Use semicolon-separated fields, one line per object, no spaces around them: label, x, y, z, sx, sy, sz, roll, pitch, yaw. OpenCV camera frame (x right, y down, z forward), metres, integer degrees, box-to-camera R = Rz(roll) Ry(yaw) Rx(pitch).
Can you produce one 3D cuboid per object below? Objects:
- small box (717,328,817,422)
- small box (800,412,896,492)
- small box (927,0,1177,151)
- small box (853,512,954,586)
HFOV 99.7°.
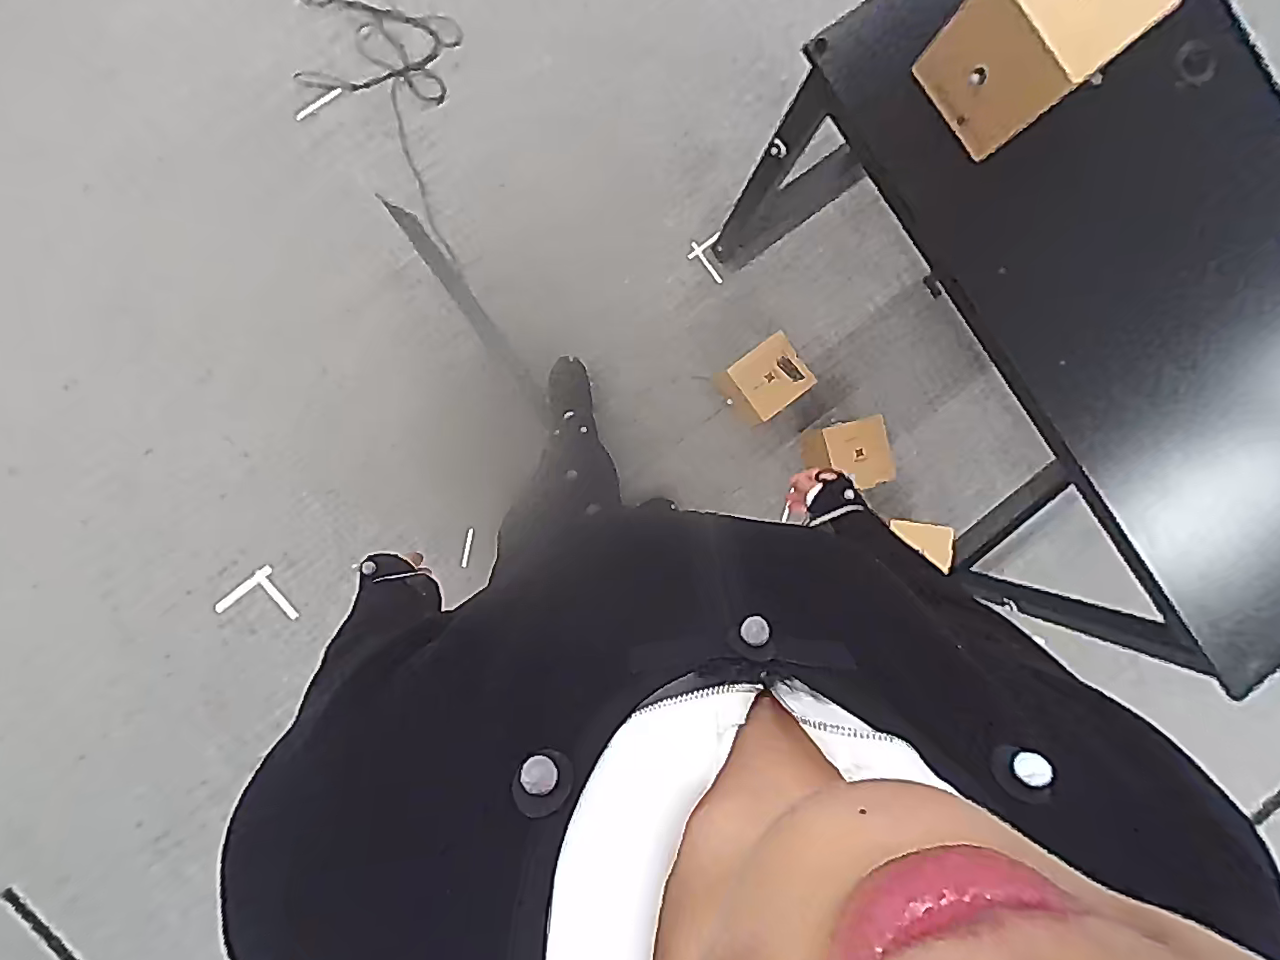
small box;0.329;-0.271;1.437;0.179;0.176;0.168;-37;94;-1
small box;0.555;-0.074;1.463;0.168;0.176;0.179;-16;92;-5
small box;0.517;-0.584;0.710;0.179;0.176;0.168;-39;95;-3
small box;0.716;0.183;1.481;0.179;0.176;0.168;7;91;-5
